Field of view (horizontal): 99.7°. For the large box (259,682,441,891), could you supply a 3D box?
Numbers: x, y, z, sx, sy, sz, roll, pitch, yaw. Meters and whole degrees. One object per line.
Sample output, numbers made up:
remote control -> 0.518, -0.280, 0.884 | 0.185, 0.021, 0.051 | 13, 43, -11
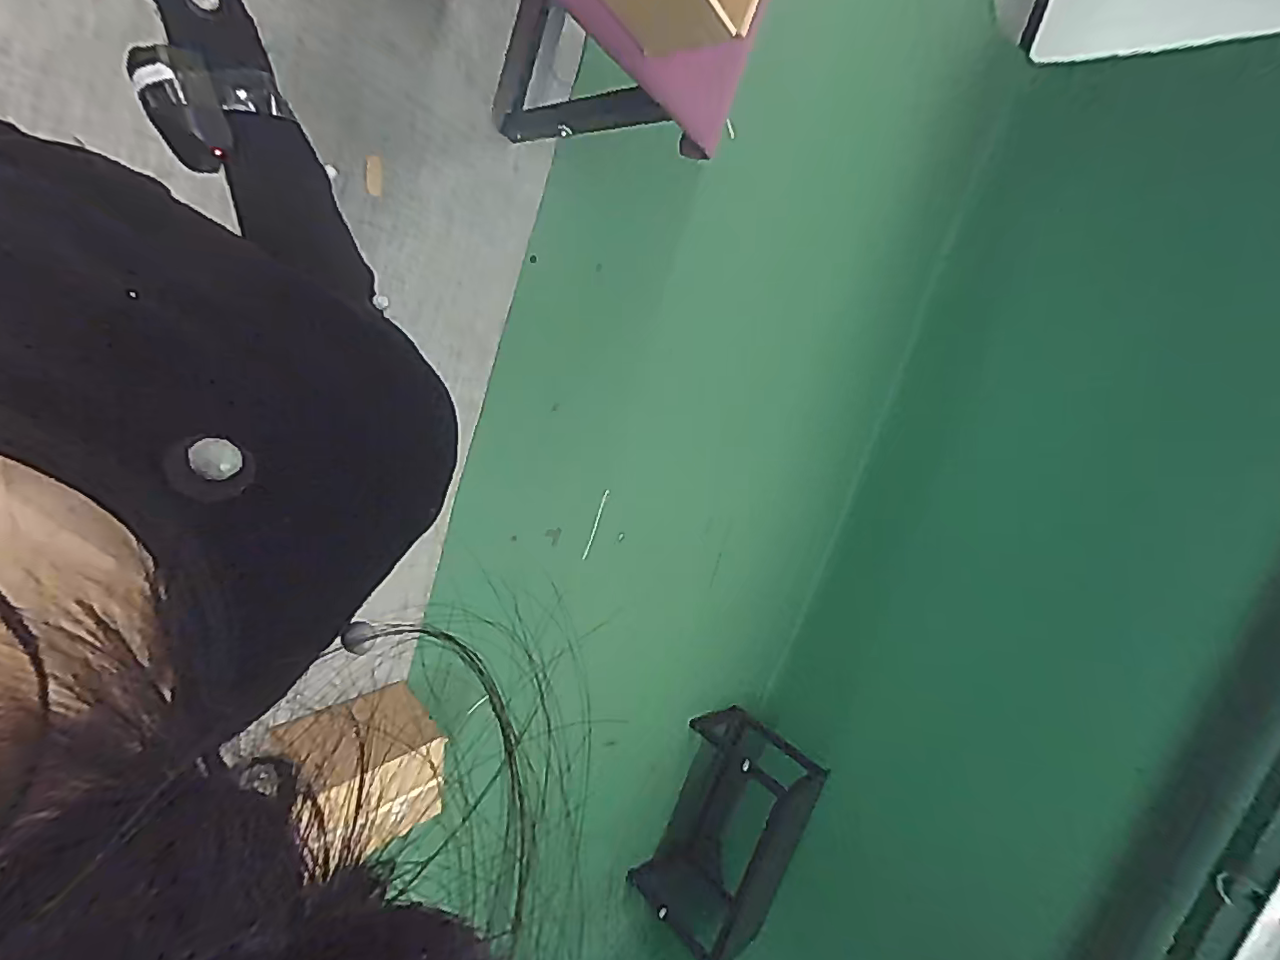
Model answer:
large box -> -0.865, 0.888, 1.632 | 0.408, 0.320, 0.320 | -11, 117, -45
